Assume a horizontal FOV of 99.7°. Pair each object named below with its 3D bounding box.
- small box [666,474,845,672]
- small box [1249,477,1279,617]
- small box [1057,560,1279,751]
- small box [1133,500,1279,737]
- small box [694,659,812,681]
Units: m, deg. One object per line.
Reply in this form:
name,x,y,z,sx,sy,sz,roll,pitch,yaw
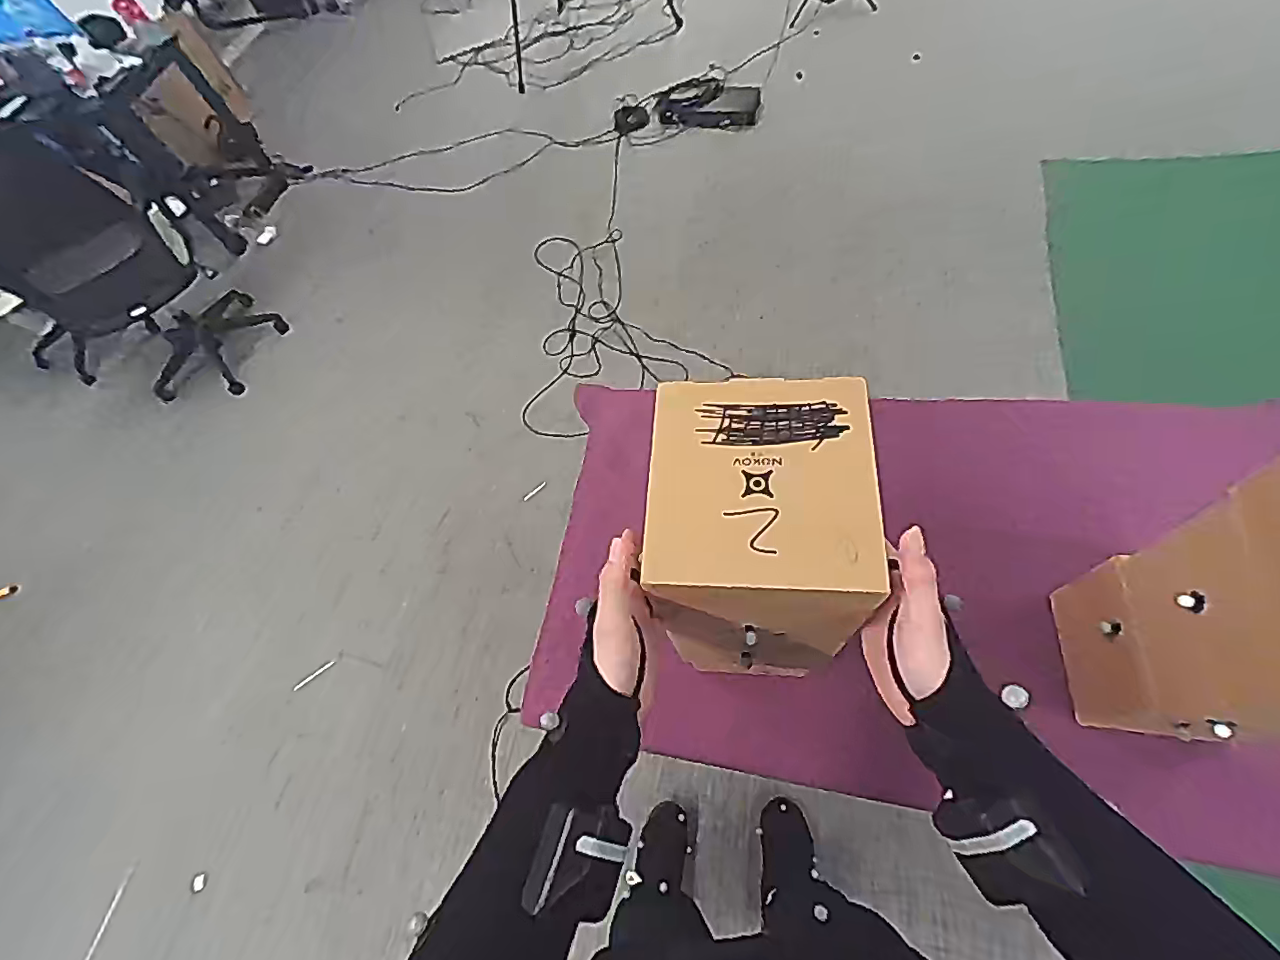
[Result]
small box,0.126,0.108,0.601,0.168,0.176,0.179,1,62,11
small box,0.580,0.054,0.357,0.168,0.176,0.179,6,62,15
small box,0.637,0.211,0.639,0.168,0.176,0.179,3,61,13
small box,0.609,0.139,0.494,0.168,0.176,0.179,5,61,13
small box,0.154,0.170,0.753,0.168,0.176,0.179,0,62,11
